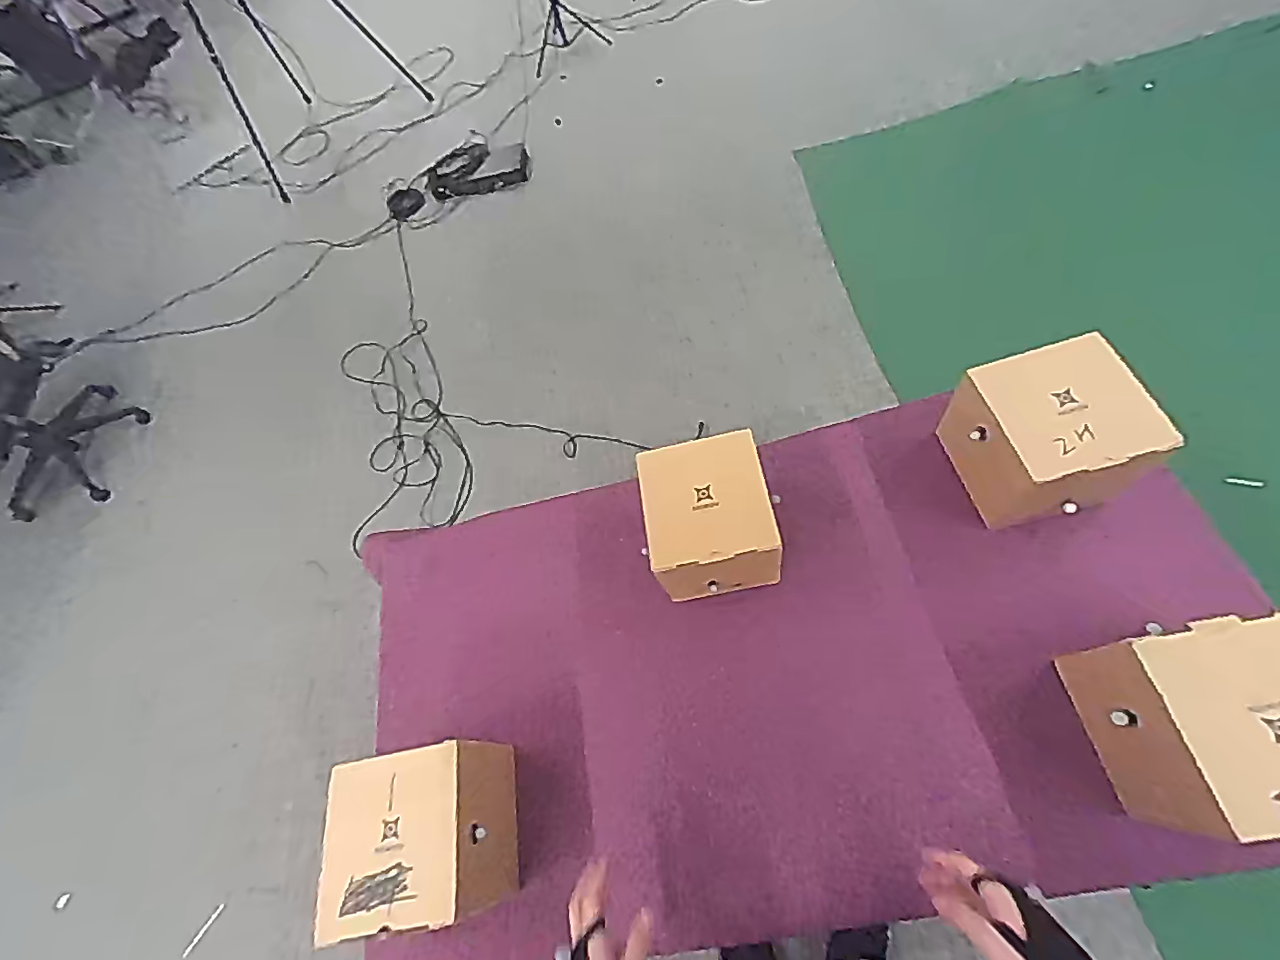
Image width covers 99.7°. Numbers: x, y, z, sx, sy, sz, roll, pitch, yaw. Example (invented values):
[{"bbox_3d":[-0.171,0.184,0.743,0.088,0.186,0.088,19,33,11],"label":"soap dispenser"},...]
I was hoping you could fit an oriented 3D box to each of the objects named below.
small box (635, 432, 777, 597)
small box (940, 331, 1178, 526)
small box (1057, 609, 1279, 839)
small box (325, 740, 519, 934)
[{"bbox_3d":[0.097,0.058,0.790,0.168,0.176,0.179,-13,65,8],"label":"small box"},{"bbox_3d":[0.533,-0.060,0.726,0.168,0.176,0.179,-17,63,10],"label":"small box"},{"bbox_3d":[0.589,0.251,0.564,0.168,0.176,0.179,-14,63,9],"label":"small box"},{"bbox_3d":[-0.265,0.444,0.697,0.168,0.176,0.179,-14,61,7],"label":"small box"}]
